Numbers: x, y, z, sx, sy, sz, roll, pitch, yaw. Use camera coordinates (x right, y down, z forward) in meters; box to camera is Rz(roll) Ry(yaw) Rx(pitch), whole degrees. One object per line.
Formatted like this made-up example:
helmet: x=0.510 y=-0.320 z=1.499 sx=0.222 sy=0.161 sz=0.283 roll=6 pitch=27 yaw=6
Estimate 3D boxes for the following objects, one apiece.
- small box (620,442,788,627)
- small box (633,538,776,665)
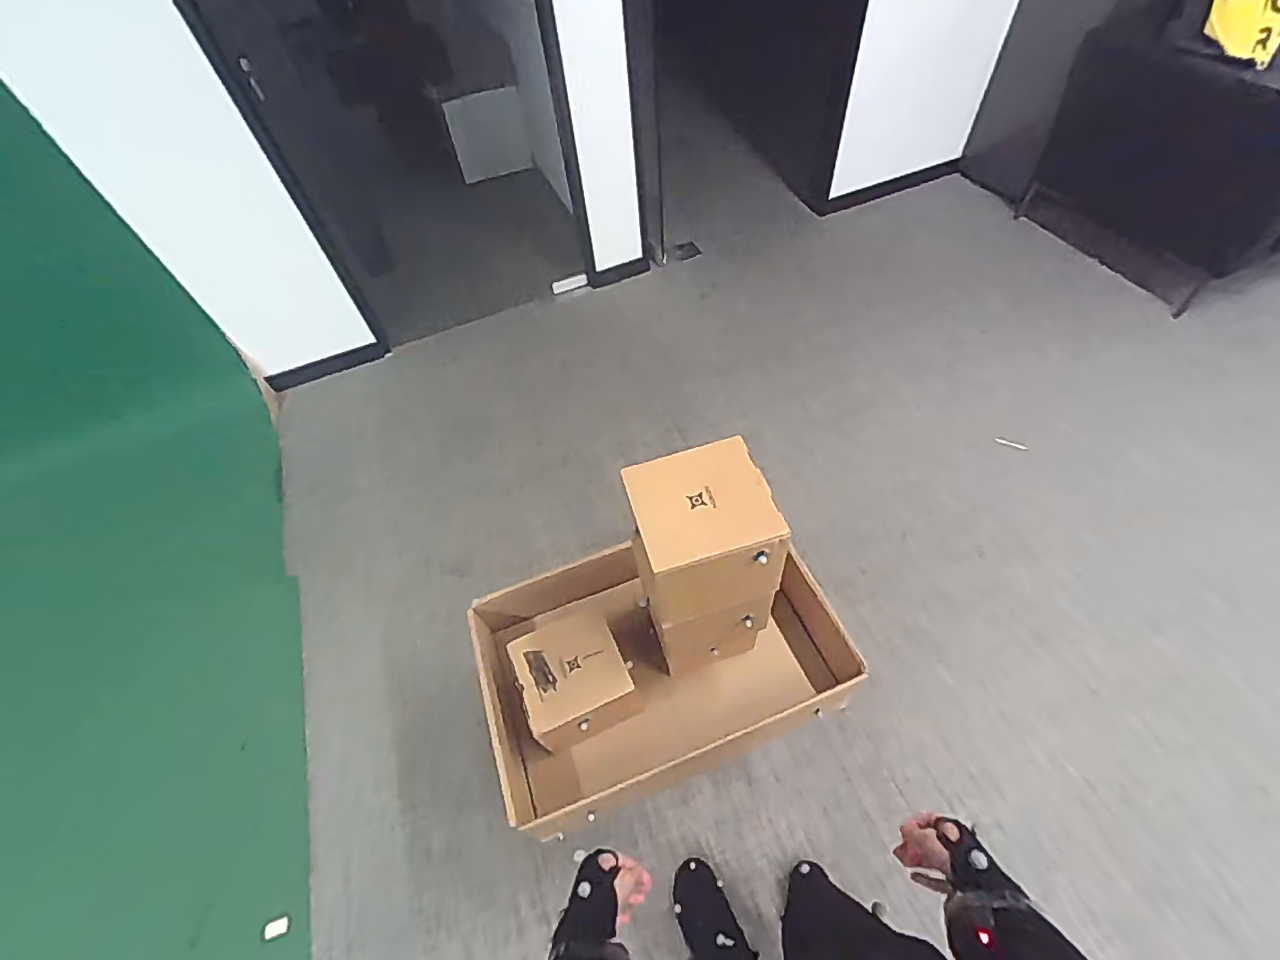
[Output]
small box: x=0.085 y=0.081 z=0.746 sx=0.179 sy=0.176 sz=0.168 roll=-16 pitch=54 yaw=-4
small box: x=0.100 y=0.176 z=0.876 sx=0.179 sy=0.176 sz=0.168 roll=-18 pitch=54 yaw=-4
